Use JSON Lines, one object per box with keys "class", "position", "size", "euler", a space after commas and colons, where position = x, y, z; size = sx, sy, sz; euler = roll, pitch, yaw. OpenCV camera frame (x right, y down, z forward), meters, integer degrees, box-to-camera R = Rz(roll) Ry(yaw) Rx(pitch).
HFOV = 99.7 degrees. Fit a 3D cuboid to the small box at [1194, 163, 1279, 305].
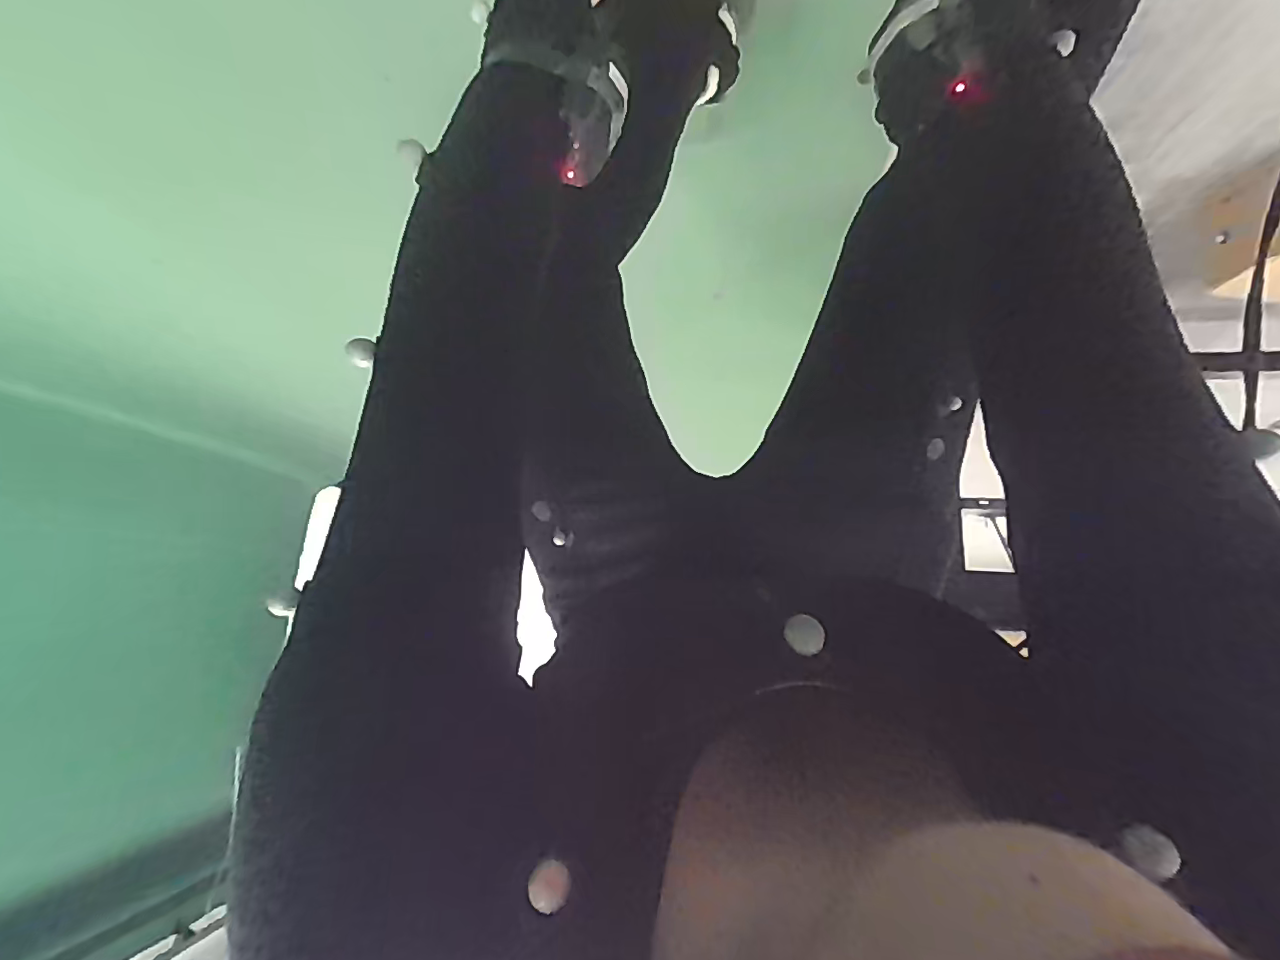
{"class": "small box", "position": [1.059, -0.404, 0.866], "size": [0.179, 0.176, 0.168], "euler": [2, 168, -4]}
